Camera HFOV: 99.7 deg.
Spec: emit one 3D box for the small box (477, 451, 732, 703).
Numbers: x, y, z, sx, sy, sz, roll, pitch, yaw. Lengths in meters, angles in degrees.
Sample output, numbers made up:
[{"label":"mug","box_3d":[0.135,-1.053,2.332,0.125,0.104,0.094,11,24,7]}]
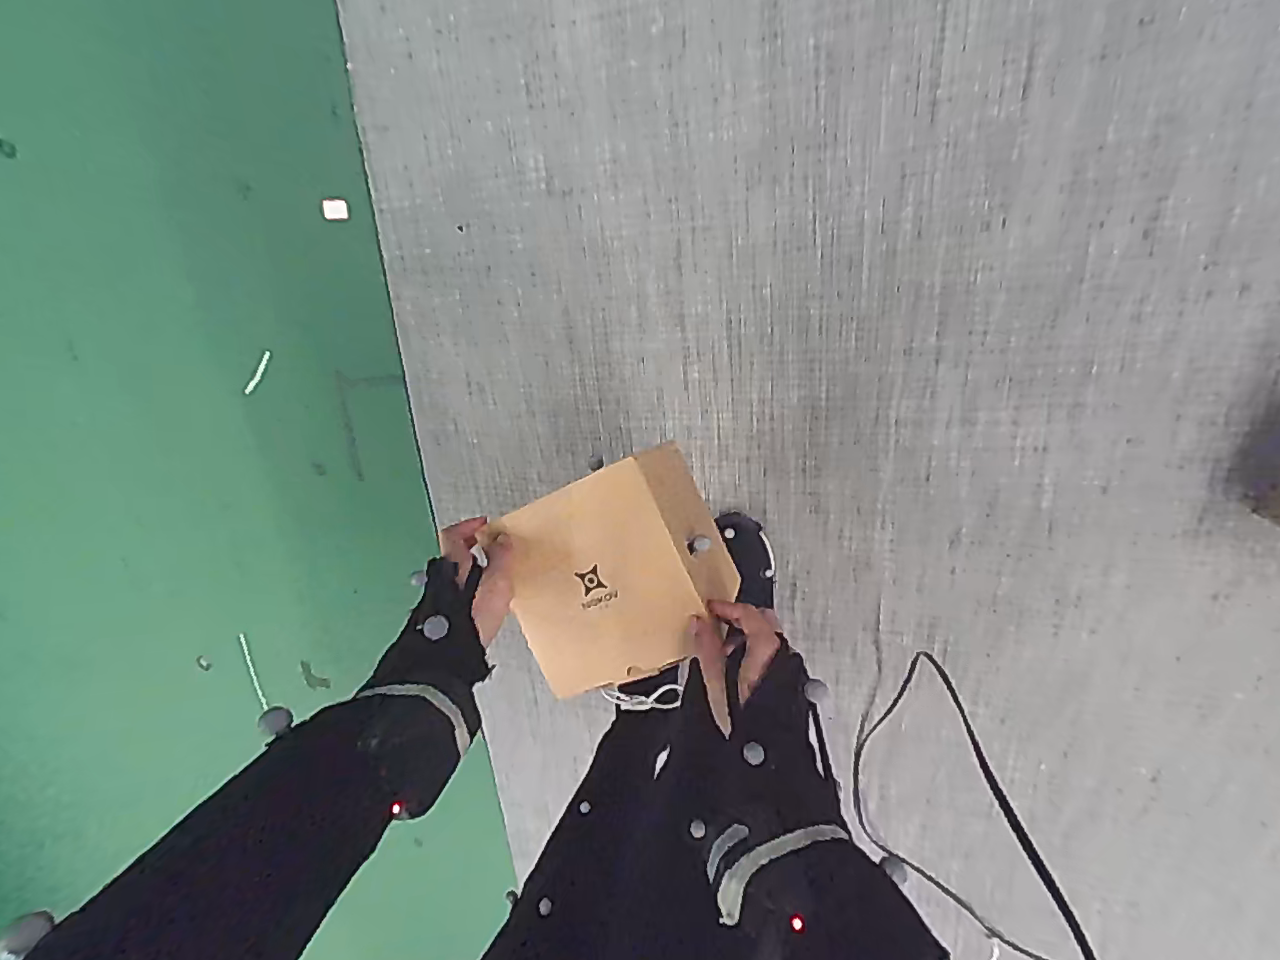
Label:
[{"label":"small box","box_3d":[-0.021,0.079,0.535,0.168,0.176,0.179,-26,92,16]}]
